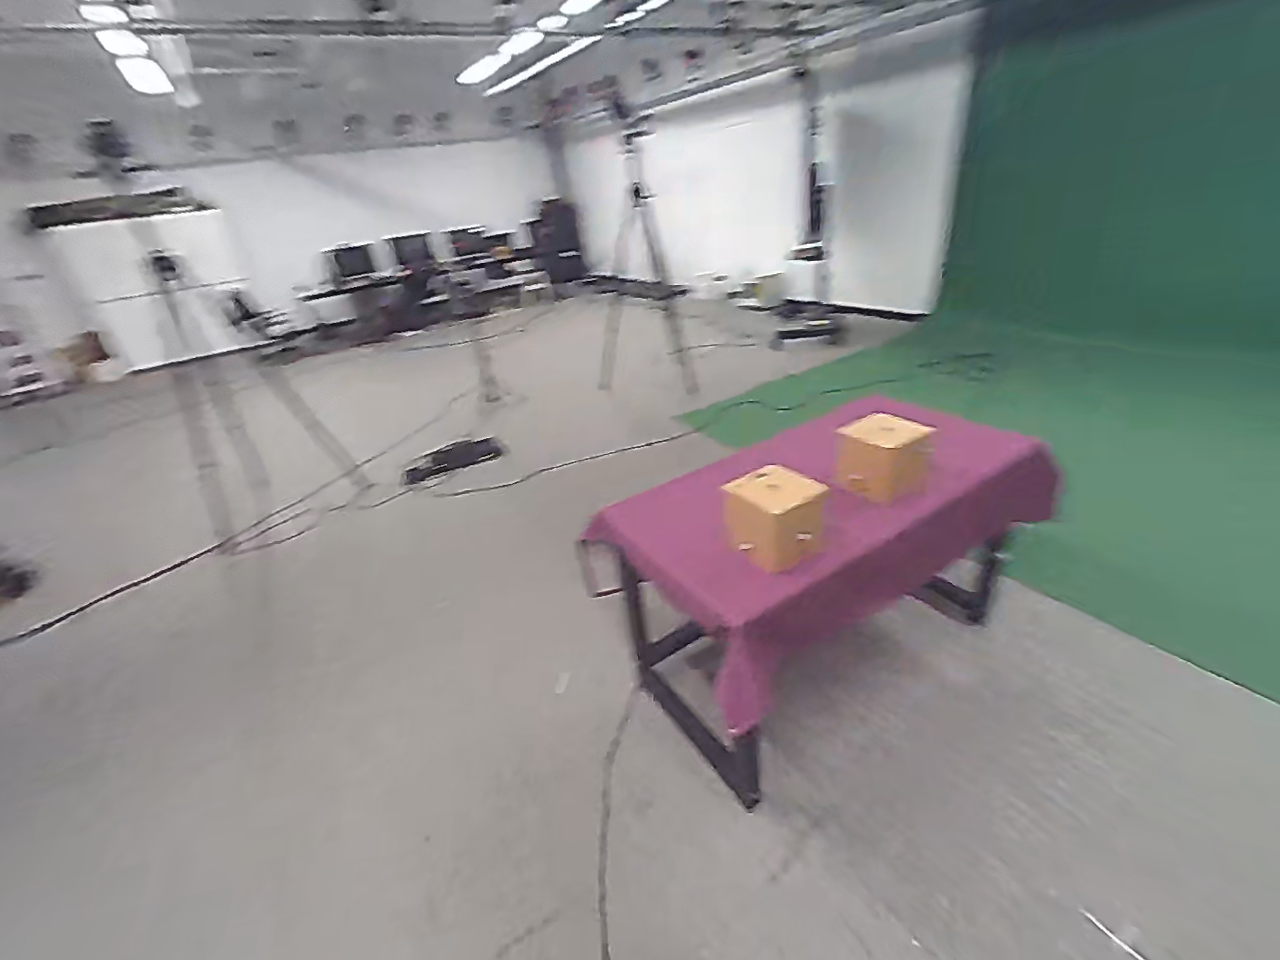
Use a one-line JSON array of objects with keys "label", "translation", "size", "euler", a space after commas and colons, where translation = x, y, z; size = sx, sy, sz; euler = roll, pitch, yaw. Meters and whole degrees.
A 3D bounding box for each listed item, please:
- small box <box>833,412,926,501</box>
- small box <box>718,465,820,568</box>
[{"label": "small box", "translation": [0.653, -0.066, 1.496], "size": [0.179, 0.176, 0.168], "euler": [-22, 31, -24]}, {"label": "small box", "translation": [0.310, 0.090, 1.305], "size": [0.168, 0.176, 0.179], "euler": [-23, 32, -25]}]
